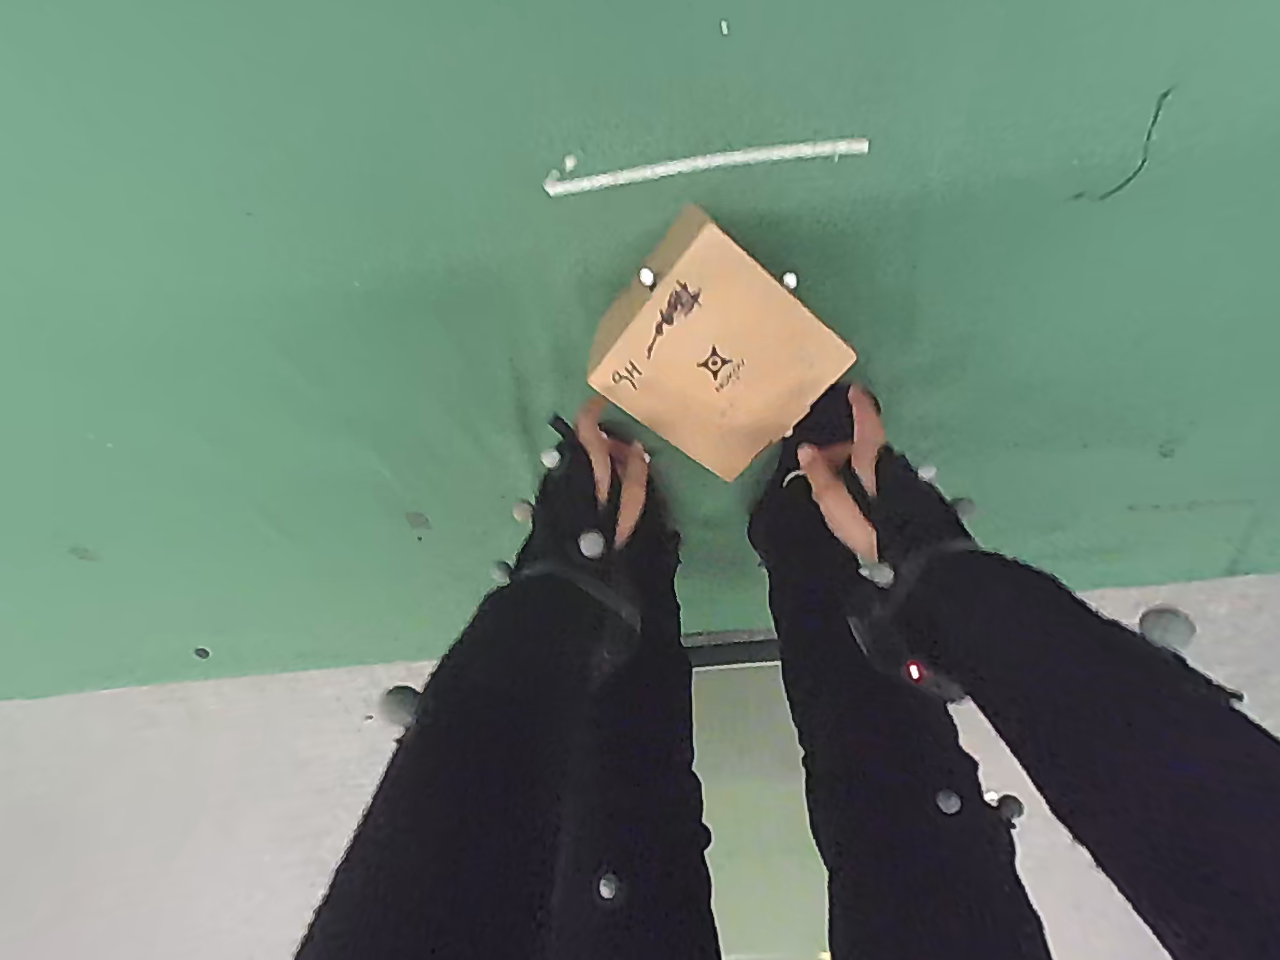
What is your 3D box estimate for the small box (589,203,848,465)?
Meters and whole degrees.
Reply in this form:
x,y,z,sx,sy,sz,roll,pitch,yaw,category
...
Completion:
x,y,z,sx,sy,sz,roll,pitch,yaw,category
0.069,-0.154,0.549,0.179,0.176,0.168,33,116,-20,small box
